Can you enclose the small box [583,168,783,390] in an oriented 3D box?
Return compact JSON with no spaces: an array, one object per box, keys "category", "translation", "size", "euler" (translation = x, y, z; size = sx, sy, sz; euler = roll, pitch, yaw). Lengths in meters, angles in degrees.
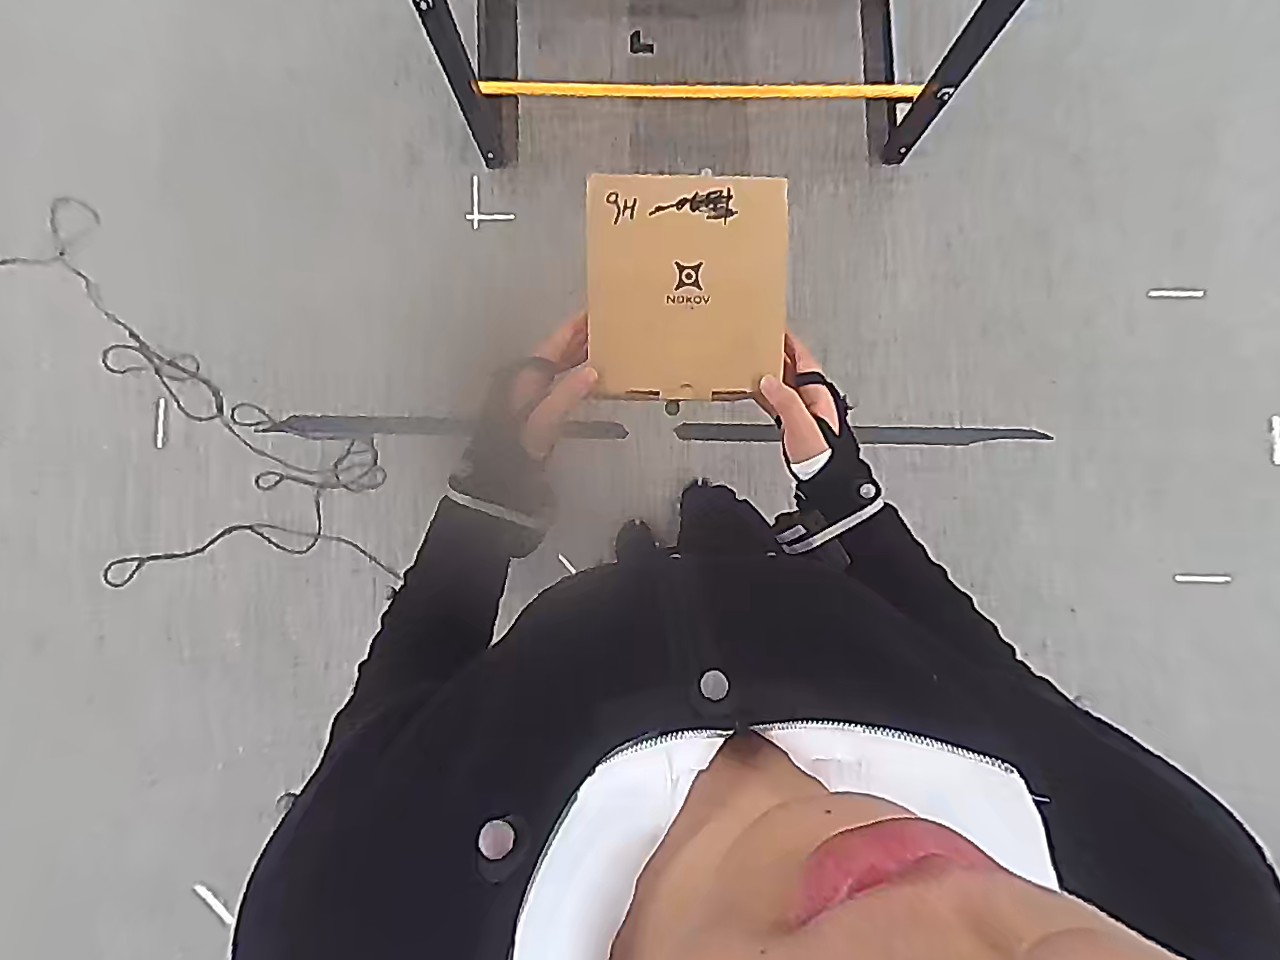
[{"category":"small box","translation":[0.033,-0.178,0.530],"size":[0.168,0.176,0.179],"euler":[-1,97,-2]}]
